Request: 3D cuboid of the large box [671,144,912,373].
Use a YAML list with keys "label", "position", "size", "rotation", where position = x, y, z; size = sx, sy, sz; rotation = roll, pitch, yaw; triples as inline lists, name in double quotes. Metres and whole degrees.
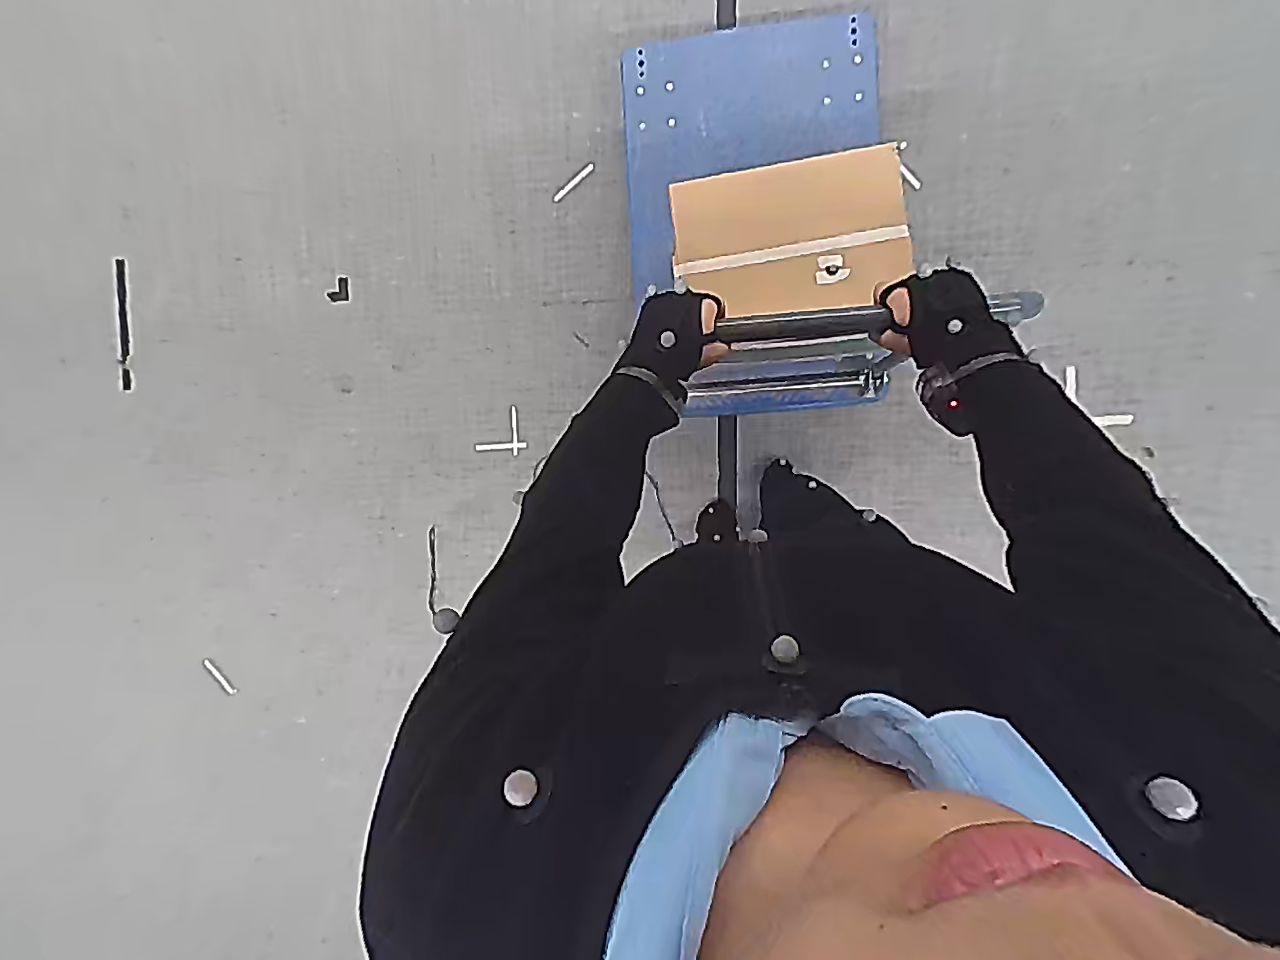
- label: "large box"
  position: [0.288, -0.426, 1.131]
  size: [0.408, 0.320, 0.320]
  rotation: [-7, 93, 6]
